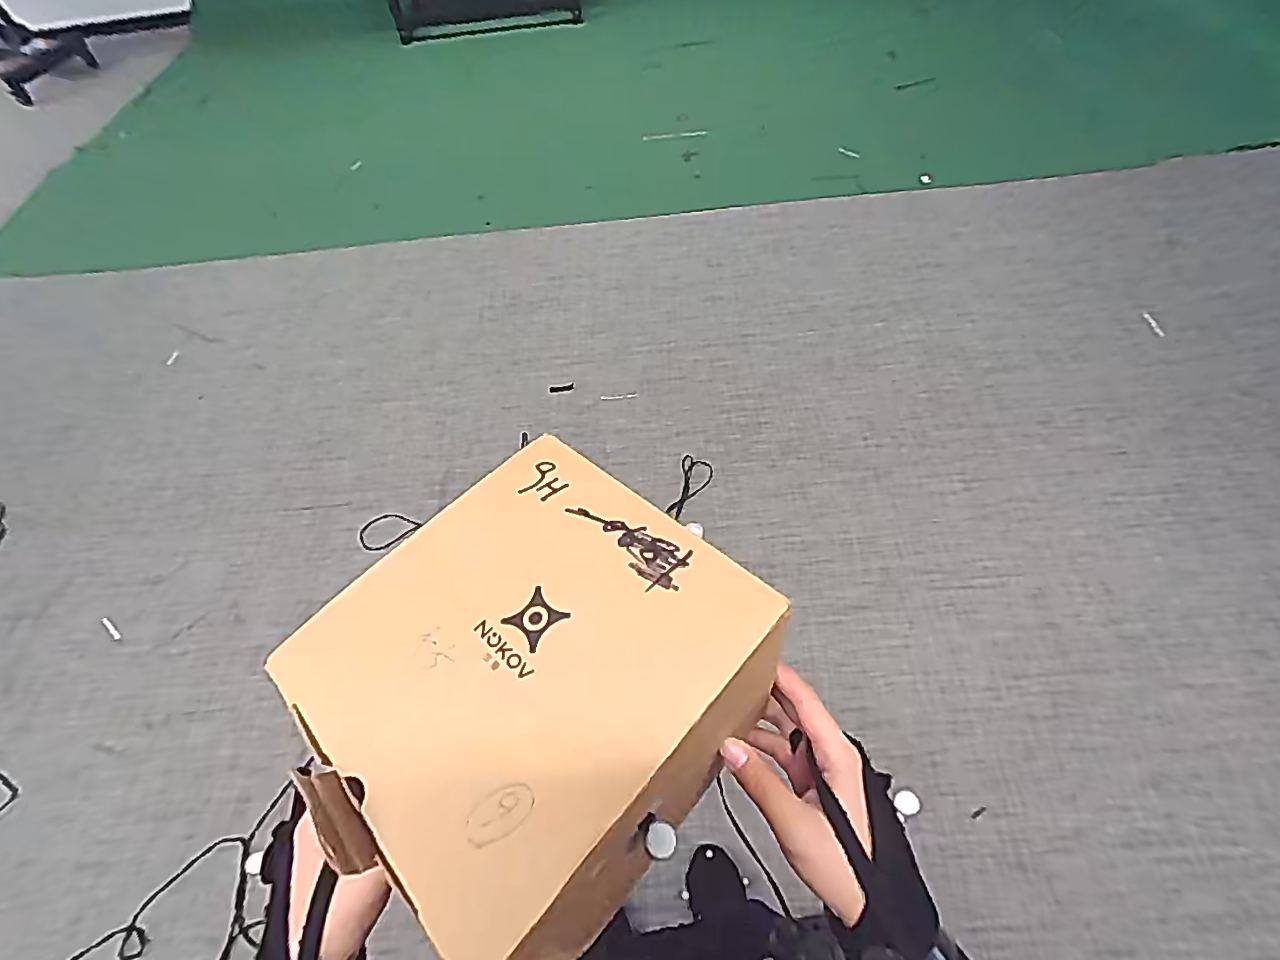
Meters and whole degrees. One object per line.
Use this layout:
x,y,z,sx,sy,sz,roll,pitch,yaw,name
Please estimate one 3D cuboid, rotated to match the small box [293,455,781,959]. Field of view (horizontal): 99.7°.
-0.039,0.126,0.311,0.168,0.176,0.179,34,64,28,small box
